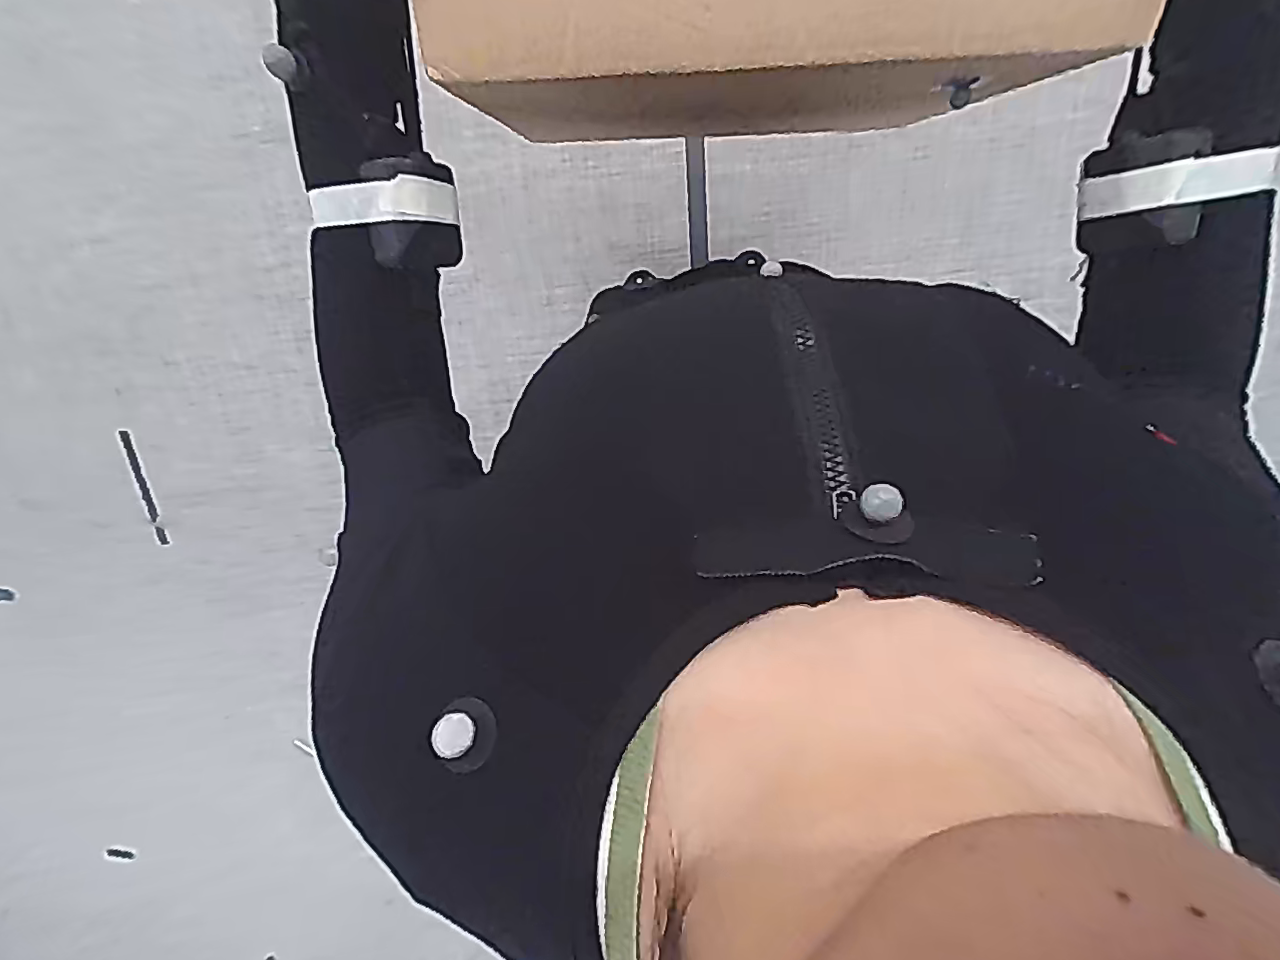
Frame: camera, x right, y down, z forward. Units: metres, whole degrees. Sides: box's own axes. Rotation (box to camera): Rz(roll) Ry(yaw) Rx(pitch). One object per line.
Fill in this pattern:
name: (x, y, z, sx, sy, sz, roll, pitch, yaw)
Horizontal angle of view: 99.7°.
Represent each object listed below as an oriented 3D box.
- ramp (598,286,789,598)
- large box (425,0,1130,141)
ramp: (0.178, -0.044, 1.613, 0.509, 0.206, 0.991, -6, 110, 2)
large box: (0.073, -0.440, 0.381, 0.408, 0.320, 0.320, -2, 116, 0)
